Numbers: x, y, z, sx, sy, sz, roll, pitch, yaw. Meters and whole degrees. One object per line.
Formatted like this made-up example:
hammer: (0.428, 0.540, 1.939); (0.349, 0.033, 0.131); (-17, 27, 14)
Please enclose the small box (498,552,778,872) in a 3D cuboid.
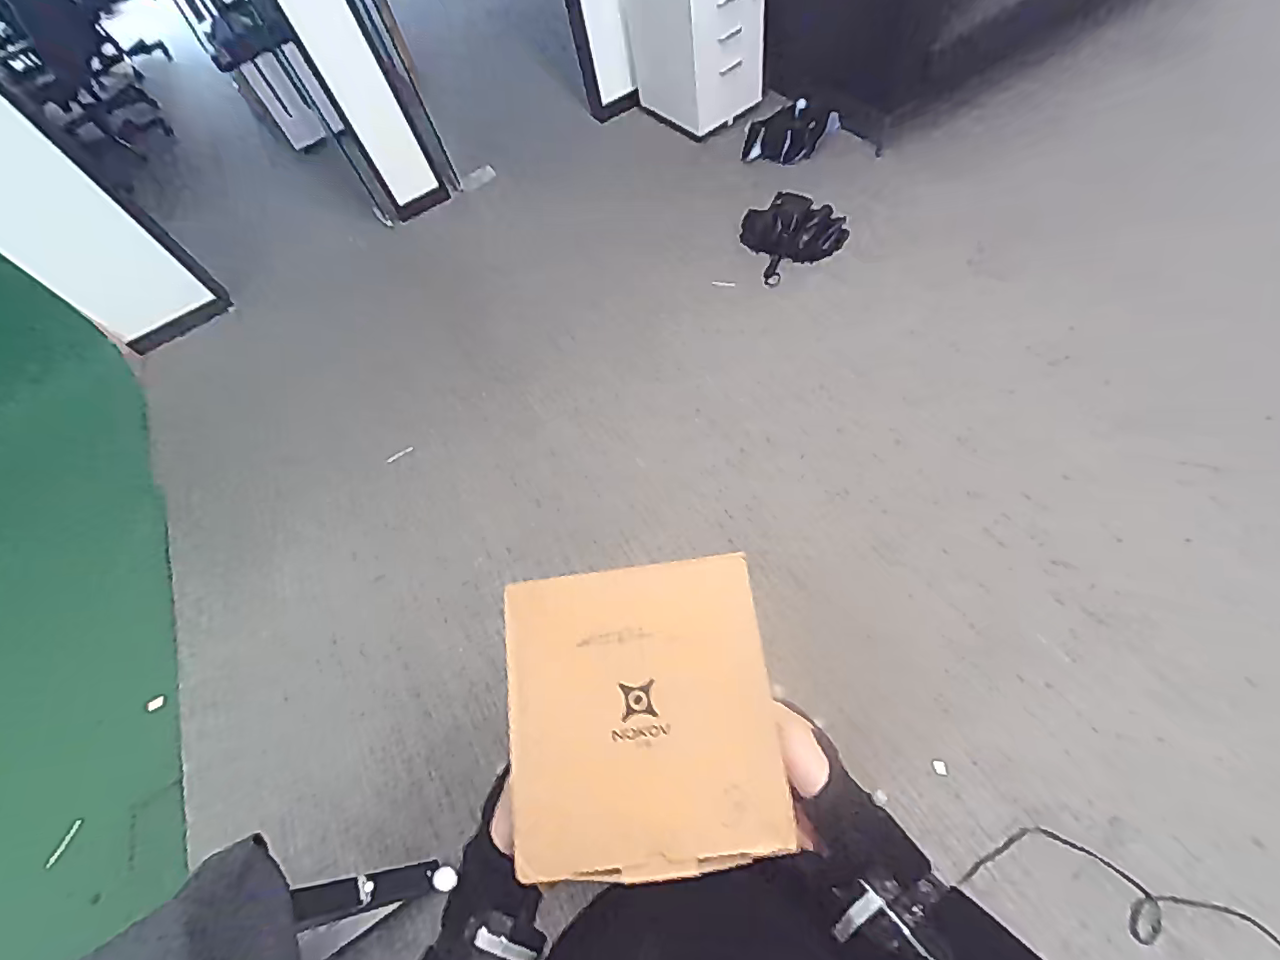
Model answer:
small box: (-0.002, 0.164, 0.415); (0.168, 0.176, 0.179); (-7, 71, 1)
